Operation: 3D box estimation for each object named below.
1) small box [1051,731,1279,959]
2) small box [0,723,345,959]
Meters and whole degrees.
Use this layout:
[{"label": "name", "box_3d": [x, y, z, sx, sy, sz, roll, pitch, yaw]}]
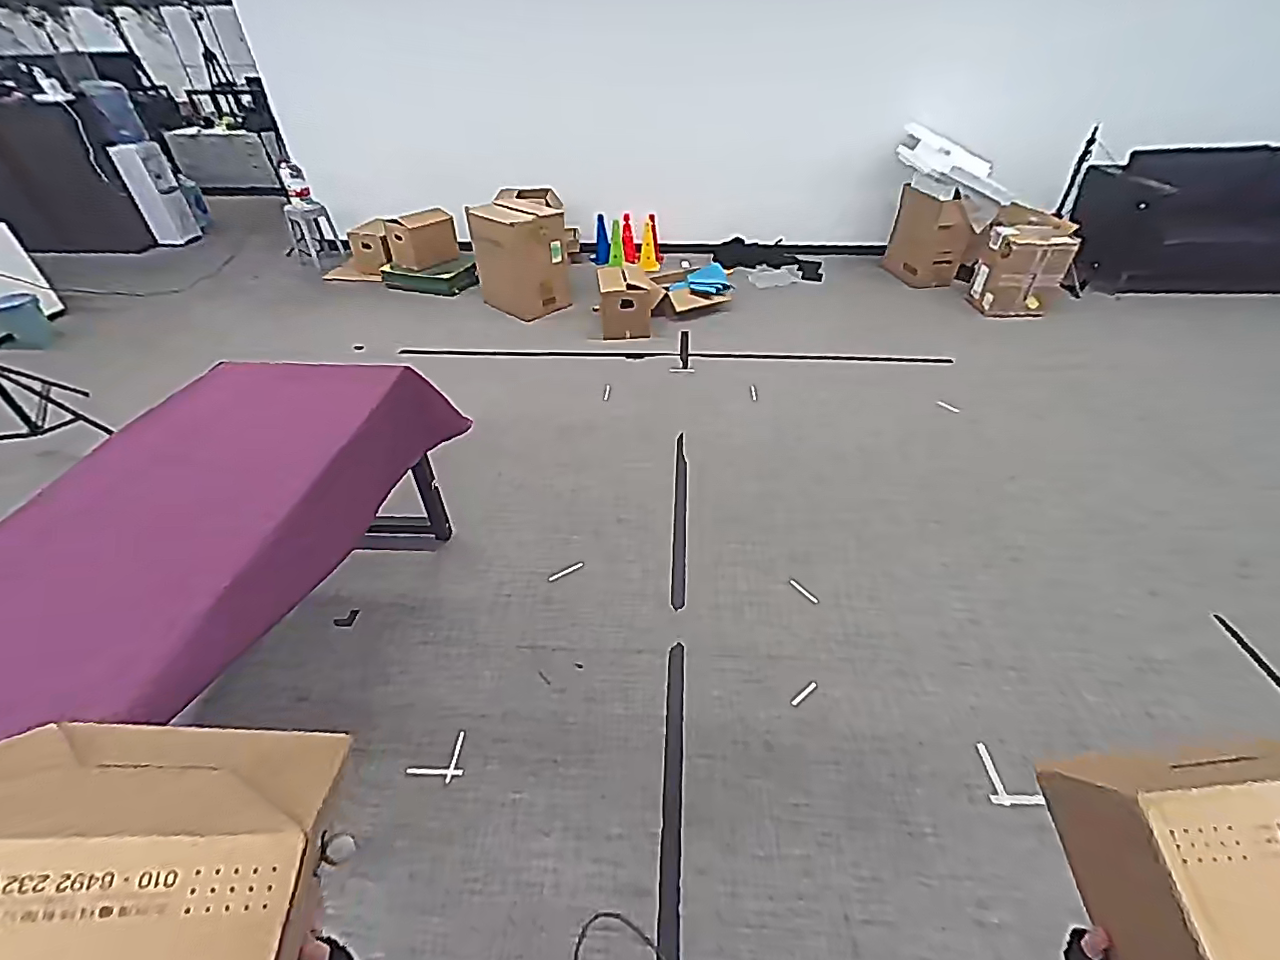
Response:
[{"label": "small box", "box_3d": [0.378, 0.245, 0.305, 0.168, 0.179, 0.176, -13, 64, 14]}, {"label": "small box", "box_3d": [-0.251, 0.214, 0.246, 0.168, 0.179, 0.176, 12, 73, -19]}]
